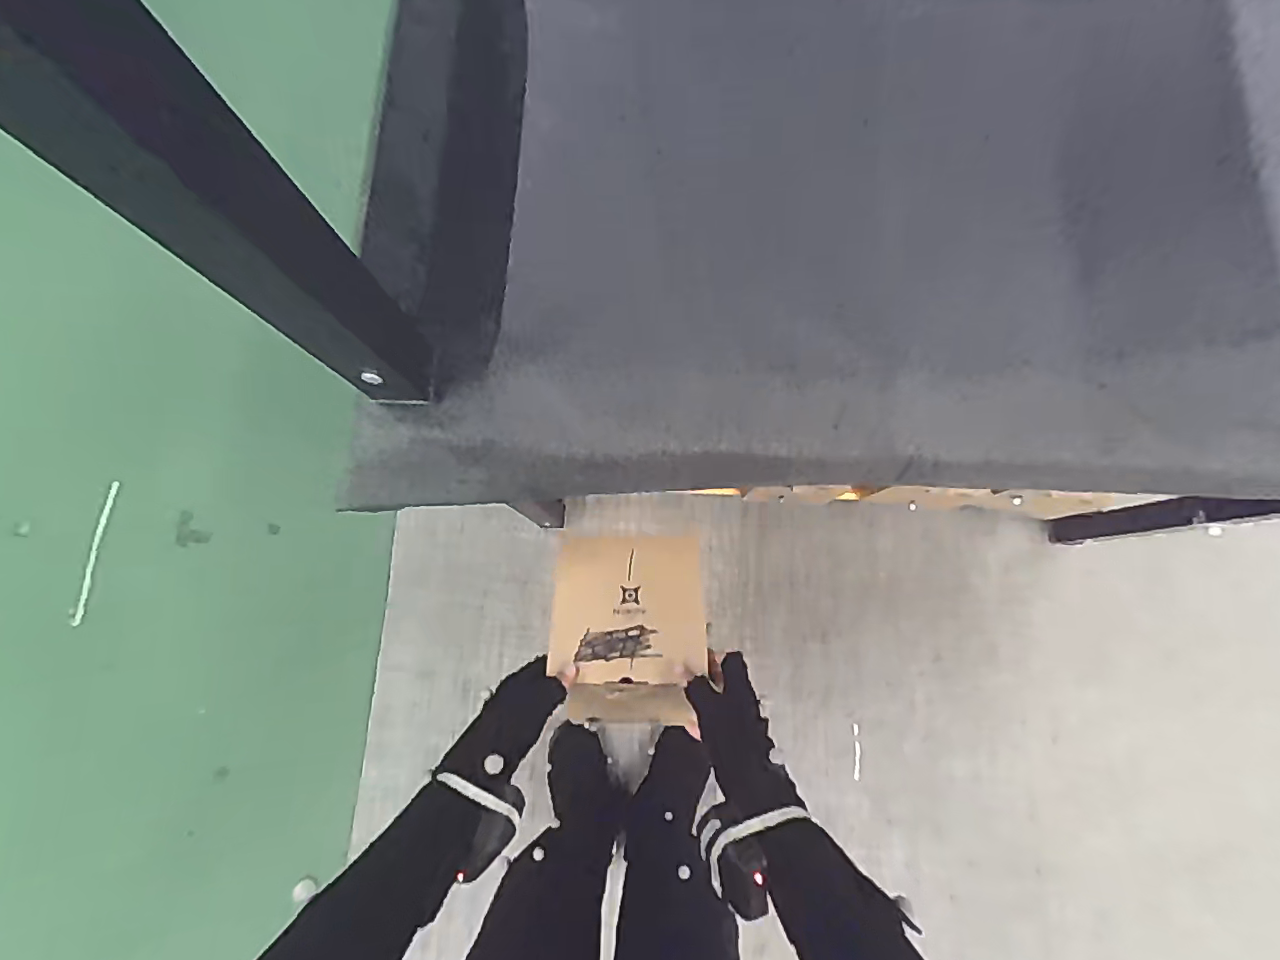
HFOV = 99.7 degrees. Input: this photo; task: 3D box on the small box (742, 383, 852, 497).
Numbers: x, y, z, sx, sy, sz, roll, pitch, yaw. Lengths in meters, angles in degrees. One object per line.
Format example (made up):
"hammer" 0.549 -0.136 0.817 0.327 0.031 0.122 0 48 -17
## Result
"small box" 0.292 -0.070 1.031 0.168 0.176 0.179 4 80 2
